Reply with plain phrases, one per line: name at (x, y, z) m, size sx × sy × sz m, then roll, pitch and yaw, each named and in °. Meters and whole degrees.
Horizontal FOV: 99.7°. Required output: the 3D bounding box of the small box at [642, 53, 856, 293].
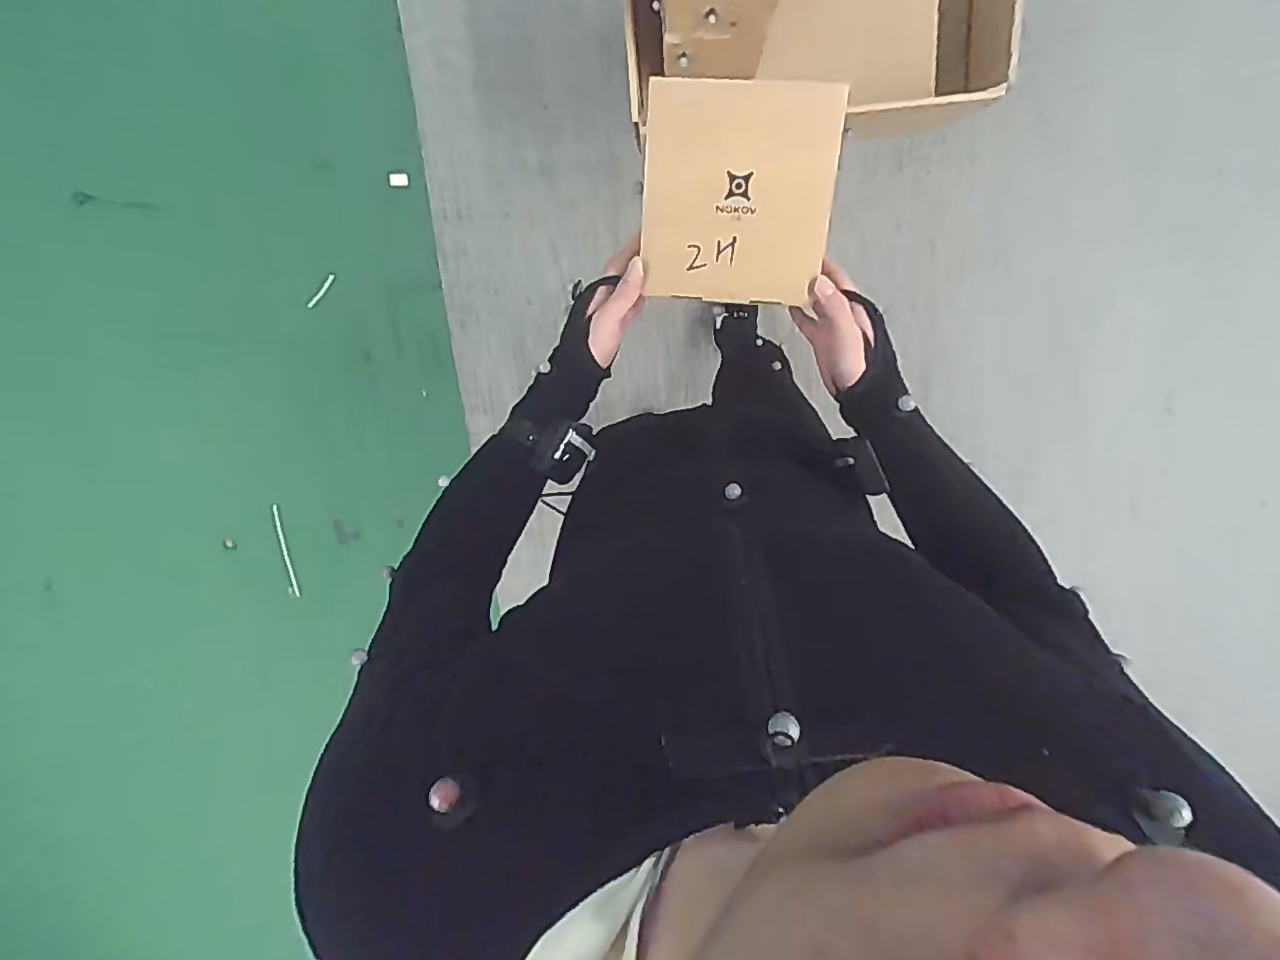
small box at (0.095, -0.286, 0.541) m, size 0.168 × 0.176 × 0.179 m, roll 5°, pitch 110°, yaw 4°

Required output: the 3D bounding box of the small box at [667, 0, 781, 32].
small box at (0.117, -0.755, 0.729) m, size 0.168 × 0.176 × 0.179 m, roll -2°, pitch 104°, yaw 3°
